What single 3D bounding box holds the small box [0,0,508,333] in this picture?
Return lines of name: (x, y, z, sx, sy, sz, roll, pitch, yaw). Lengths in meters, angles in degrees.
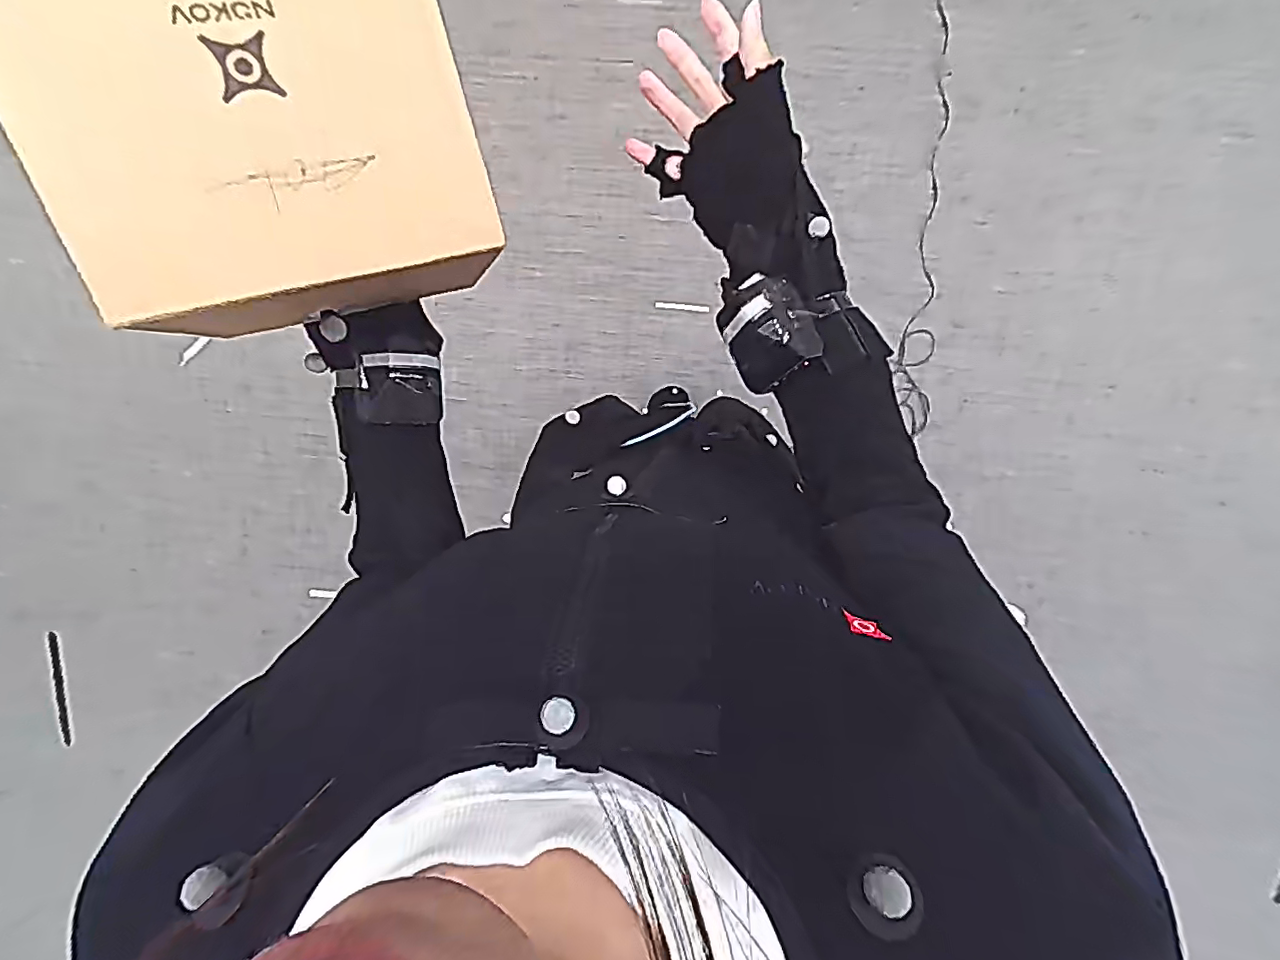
small box: (-0.189, -0.189, 0.300, 0.168, 0.176, 0.179, -20, 109, -17)
